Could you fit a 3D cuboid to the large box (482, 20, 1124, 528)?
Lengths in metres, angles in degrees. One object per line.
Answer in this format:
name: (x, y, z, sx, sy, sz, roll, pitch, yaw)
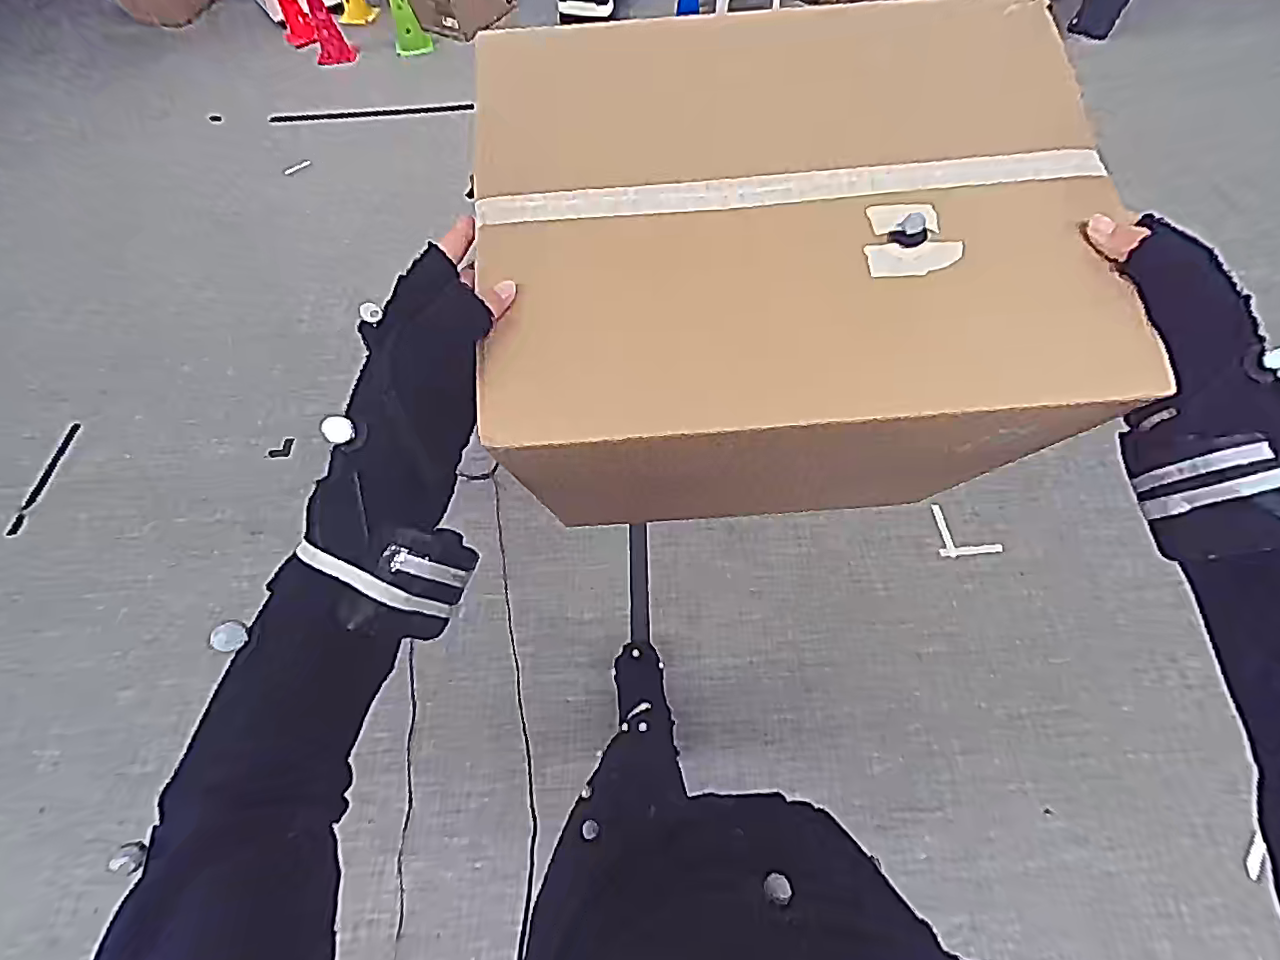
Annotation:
large box: (0.093, -0.147, 0.515, 0.408, 0.320, 0.320, -5, 76, 0)
